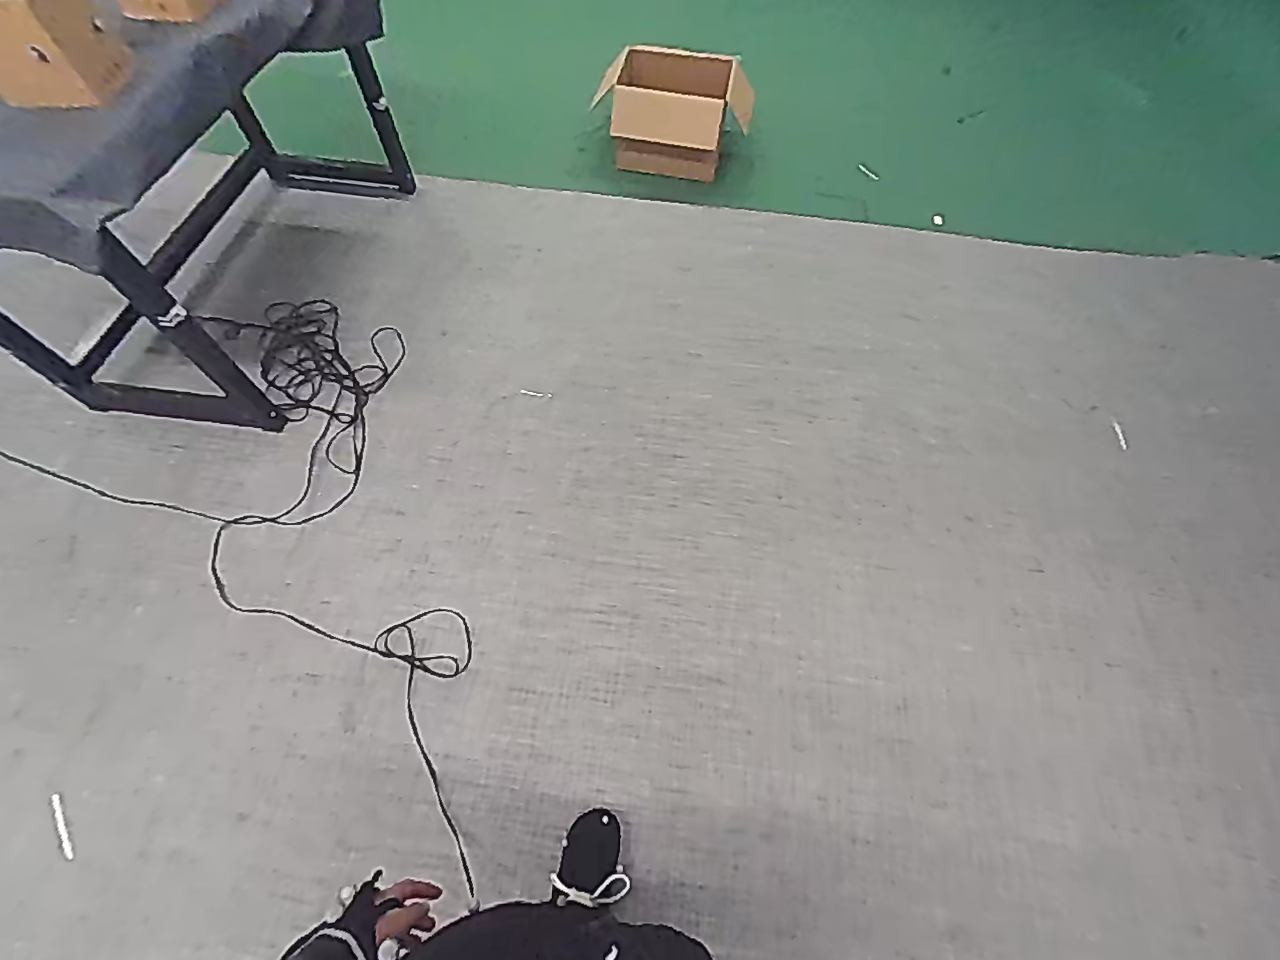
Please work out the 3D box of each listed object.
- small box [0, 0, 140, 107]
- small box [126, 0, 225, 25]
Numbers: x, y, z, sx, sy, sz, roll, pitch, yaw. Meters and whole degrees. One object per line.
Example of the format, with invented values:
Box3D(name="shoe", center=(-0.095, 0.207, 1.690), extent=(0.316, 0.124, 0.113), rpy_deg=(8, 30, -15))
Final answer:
Box3D(name="small box", center=(-1.103, -0.822, 1.004), extent=(0.179, 0.176, 0.168), rpy_deg=(-2, 59, -2))
Box3D(name="small box", center=(-1.055, -1.146, 1.187), extent=(0.168, 0.176, 0.179), rpy_deg=(5, 62, 1))
